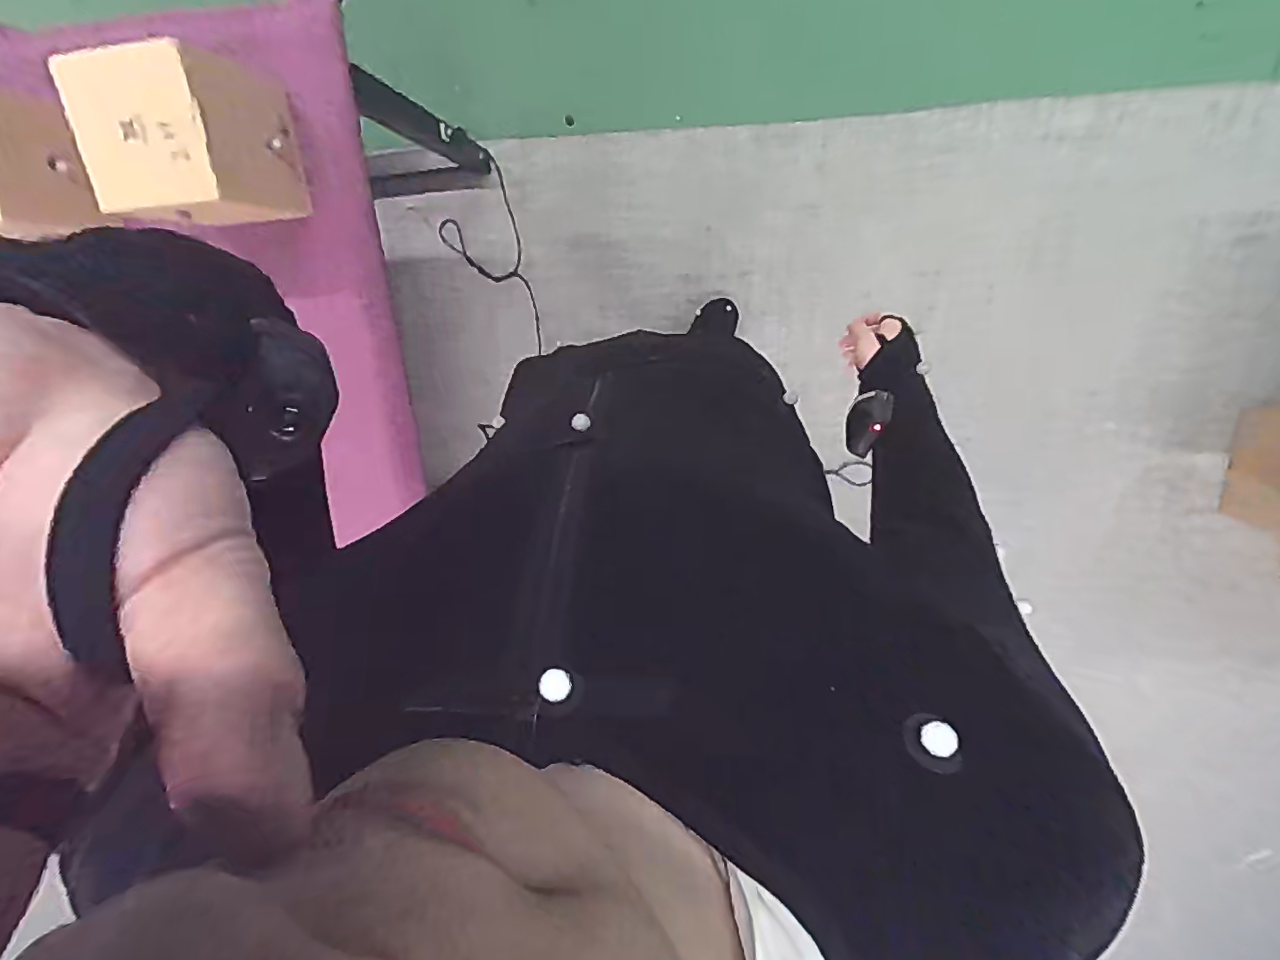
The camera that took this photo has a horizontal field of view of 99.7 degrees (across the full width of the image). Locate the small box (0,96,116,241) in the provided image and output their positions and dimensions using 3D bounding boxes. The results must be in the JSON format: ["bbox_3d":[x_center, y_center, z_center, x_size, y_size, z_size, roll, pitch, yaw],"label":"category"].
[{"bbox_3d":[-0.903,-0.435,0.762,0.179,0.176,0.168,-1,109,4],"label":"small box"}]

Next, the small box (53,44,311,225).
[{"bbox_3d":[-0.590,-0.442,0.722,0.179,0.176,0.168,-1,110,7],"label":"small box"}]
